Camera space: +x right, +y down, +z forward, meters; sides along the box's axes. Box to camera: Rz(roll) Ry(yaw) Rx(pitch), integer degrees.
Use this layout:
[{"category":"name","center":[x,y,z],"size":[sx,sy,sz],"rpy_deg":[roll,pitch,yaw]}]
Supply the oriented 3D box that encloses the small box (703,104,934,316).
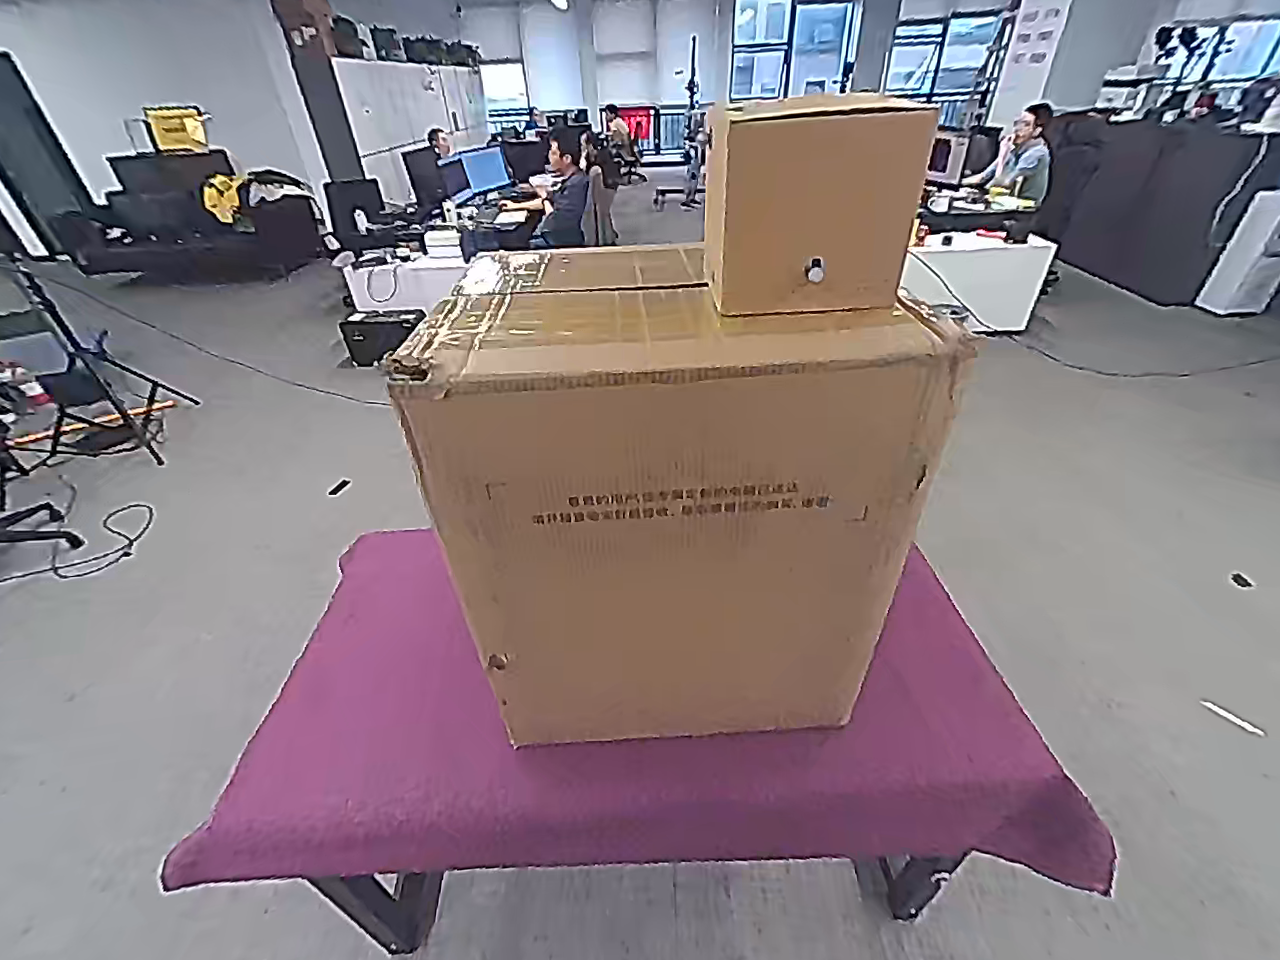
[{"category":"small box","center":[0.162,-0.280,0.560],"size":[0.179,0.176,0.168],"rpy_deg":[-3,36,1]}]
